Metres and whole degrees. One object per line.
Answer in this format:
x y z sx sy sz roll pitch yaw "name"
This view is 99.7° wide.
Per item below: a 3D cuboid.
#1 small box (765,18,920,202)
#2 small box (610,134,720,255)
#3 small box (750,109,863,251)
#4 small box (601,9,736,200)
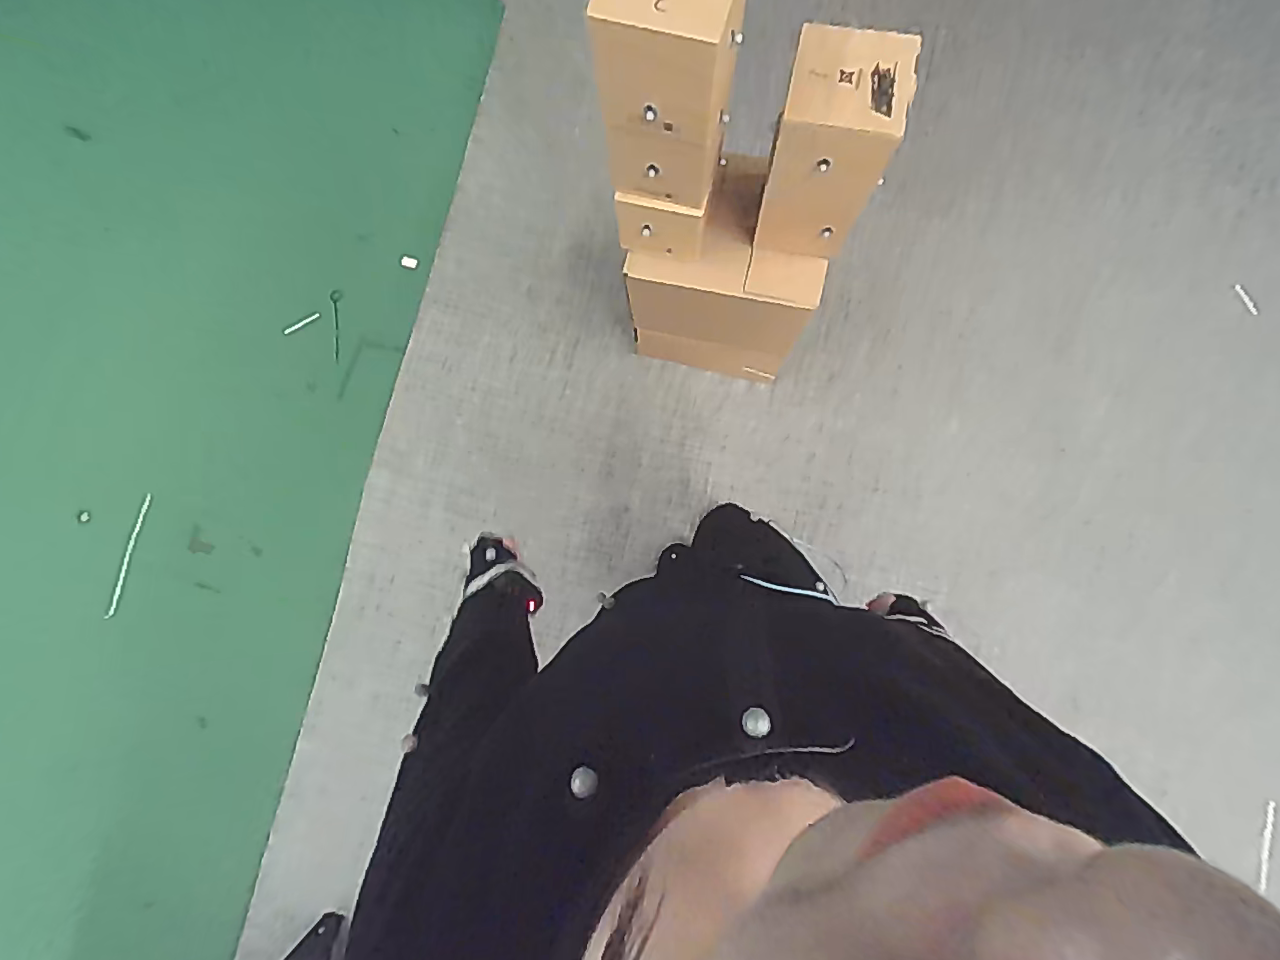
0.312 -0.578 0.866 0.179 0.176 0.168 13 84 6 "small box"
0.050 -0.565 1.041 0.168 0.176 0.179 14 85 3 "small box"
0.320 -0.561 1.029 0.179 0.176 0.168 12 84 6 "small box"
0.046 -0.595 0.879 0.168 0.176 0.179 16 85 3 "small box"
